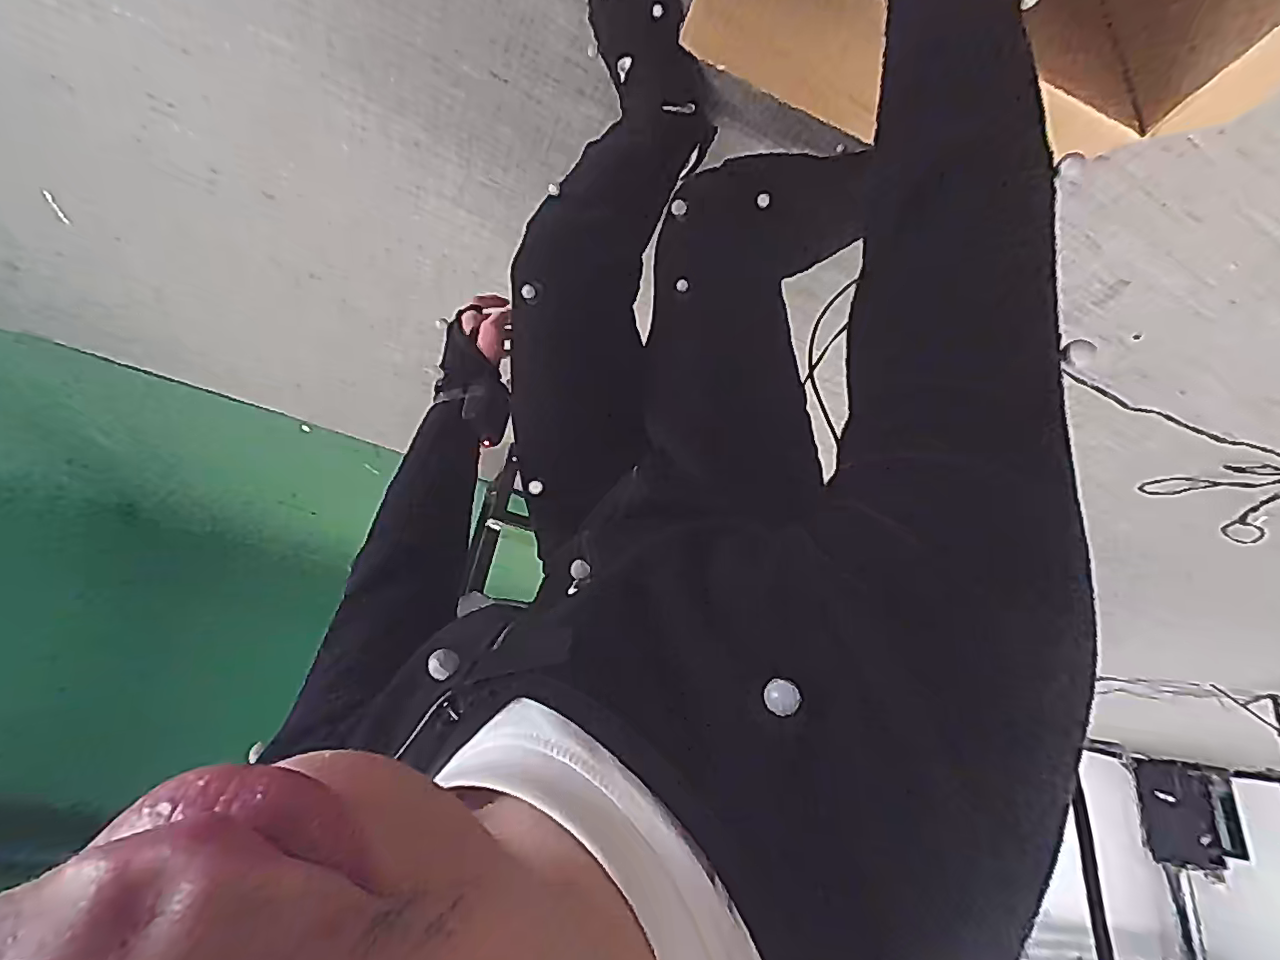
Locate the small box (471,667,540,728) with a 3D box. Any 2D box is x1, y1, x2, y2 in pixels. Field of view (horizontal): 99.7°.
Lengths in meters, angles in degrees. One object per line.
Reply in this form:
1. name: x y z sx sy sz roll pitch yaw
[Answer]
1. small box: -0.467 0.759 1.894 0.168 0.176 0.179 26 152 -26
